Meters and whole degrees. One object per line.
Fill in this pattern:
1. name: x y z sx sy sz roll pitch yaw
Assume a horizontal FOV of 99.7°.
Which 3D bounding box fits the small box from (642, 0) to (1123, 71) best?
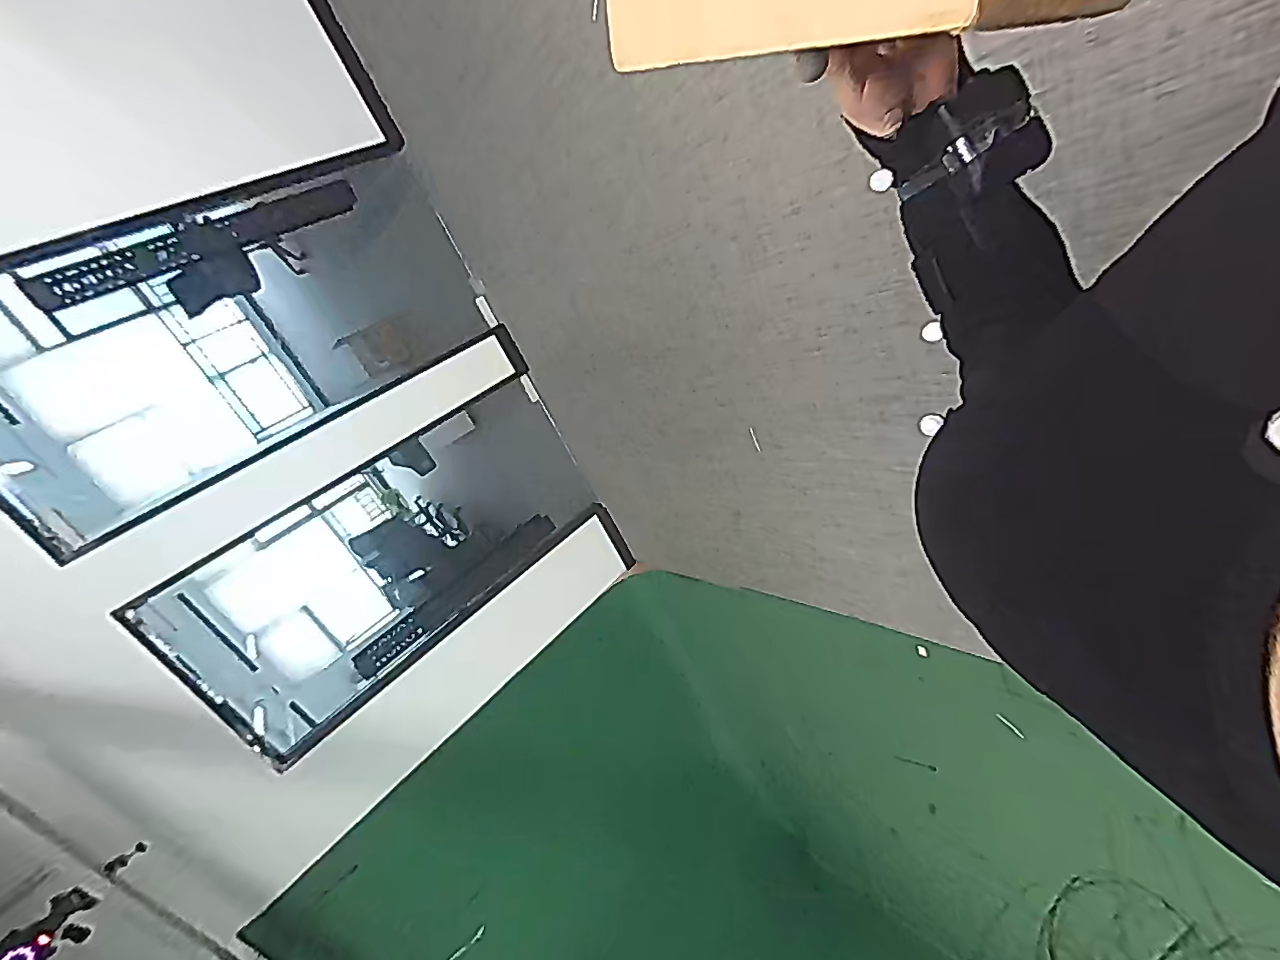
1. small box: 0.112 -0.279 0.218 0.179 0.176 0.168 31 142 40
